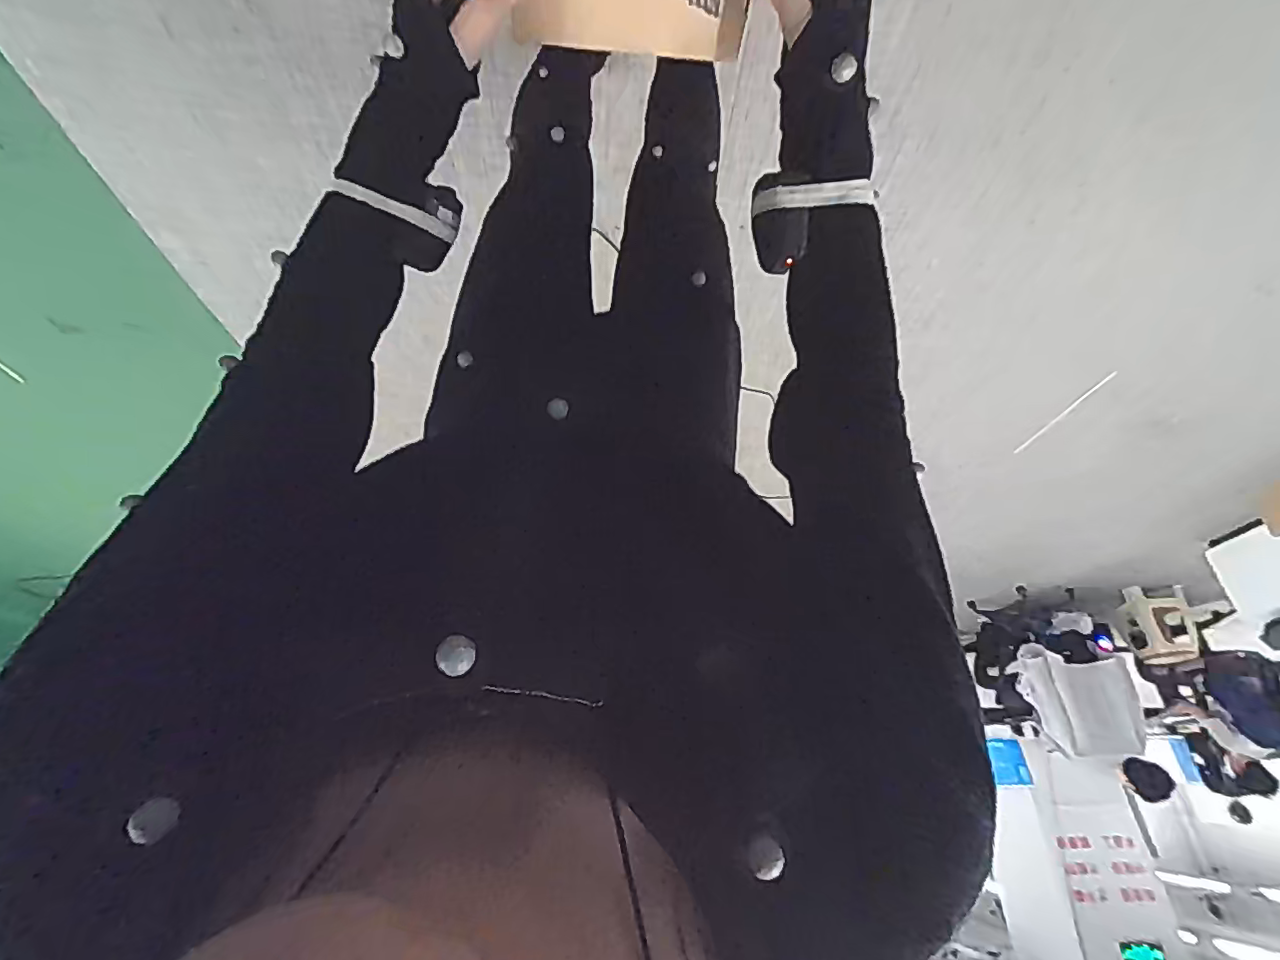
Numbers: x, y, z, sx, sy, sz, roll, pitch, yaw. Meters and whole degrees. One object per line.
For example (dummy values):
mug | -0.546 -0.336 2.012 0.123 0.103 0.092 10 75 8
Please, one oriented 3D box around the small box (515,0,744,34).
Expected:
small box | -0.006 -0.466 0.395 0.179 0.176 0.168 0 147 -7
